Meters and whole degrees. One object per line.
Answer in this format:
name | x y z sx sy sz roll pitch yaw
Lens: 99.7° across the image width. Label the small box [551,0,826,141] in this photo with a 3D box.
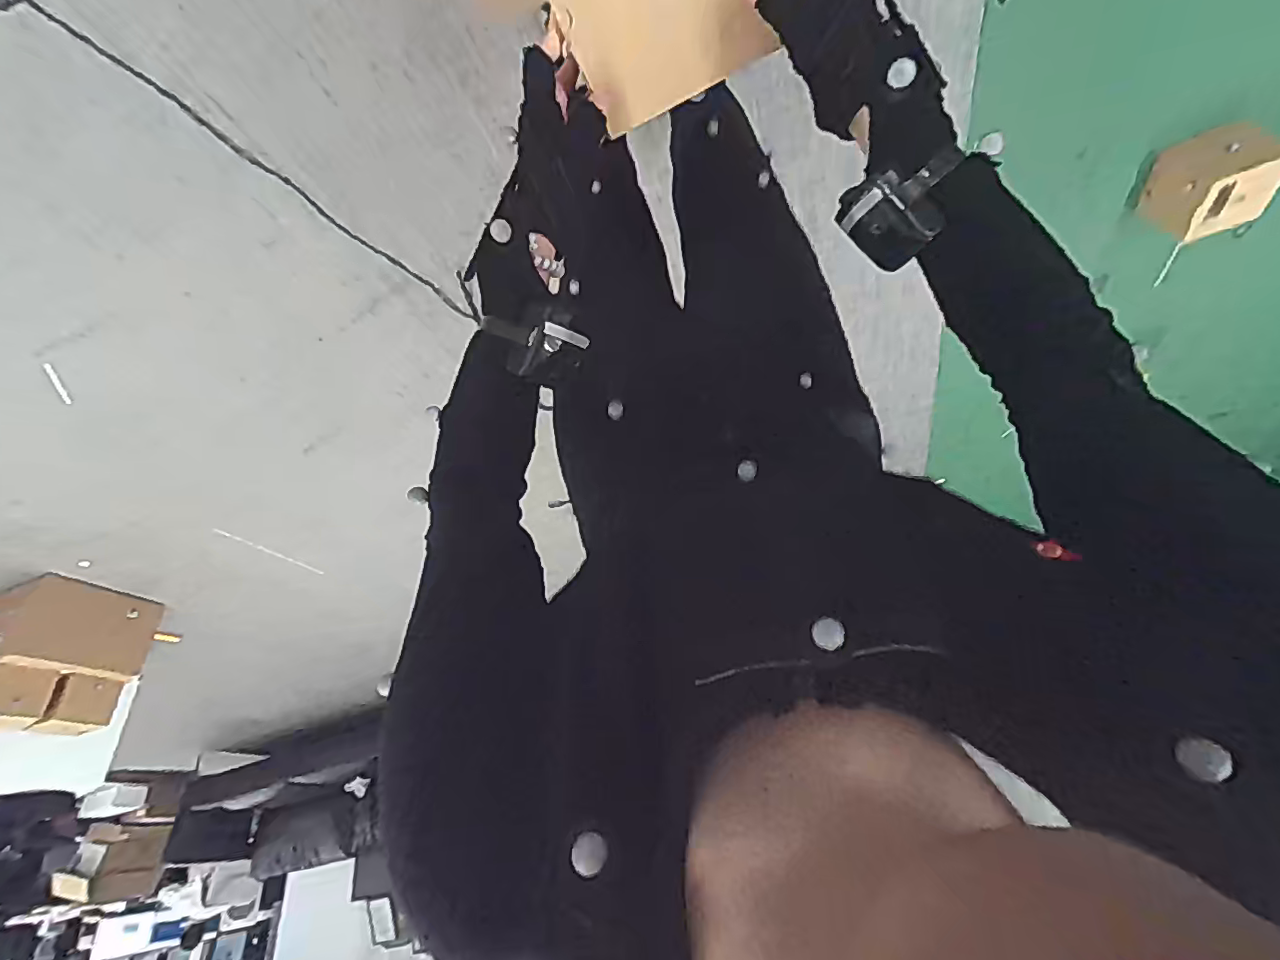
small box | 0.016 -0.404 0.400 0.179 0.176 0.168 -20 140 15
